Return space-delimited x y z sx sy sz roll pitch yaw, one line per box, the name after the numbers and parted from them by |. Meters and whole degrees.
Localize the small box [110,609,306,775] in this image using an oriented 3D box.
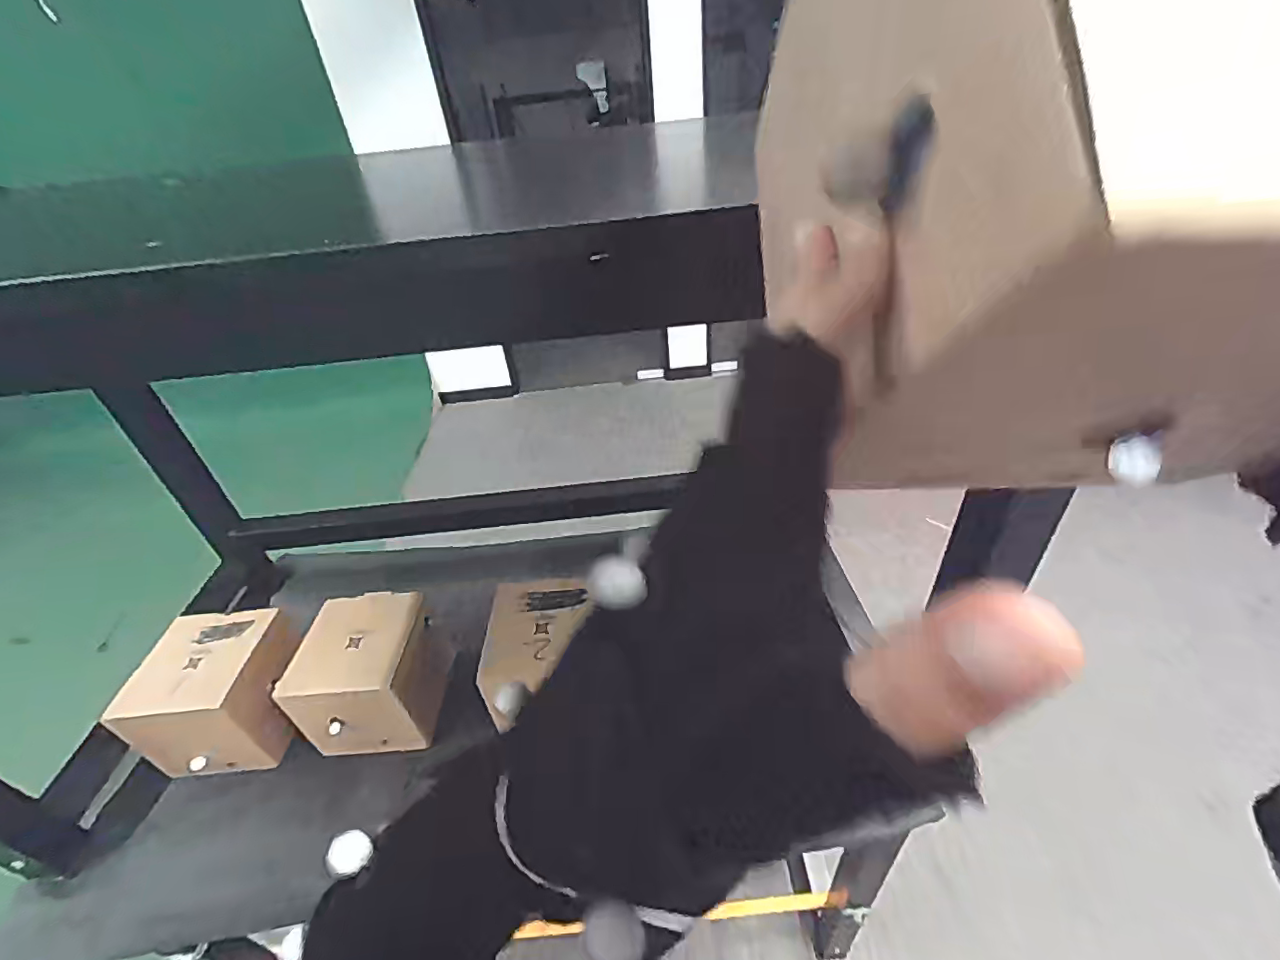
-0.636 0.328 0.843 0.168 0.176 0.179 -6 36 0 | small box

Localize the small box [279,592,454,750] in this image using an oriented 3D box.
-0.410 0.303 0.850 0.168 0.176 0.179 -5 36 1 | small box
